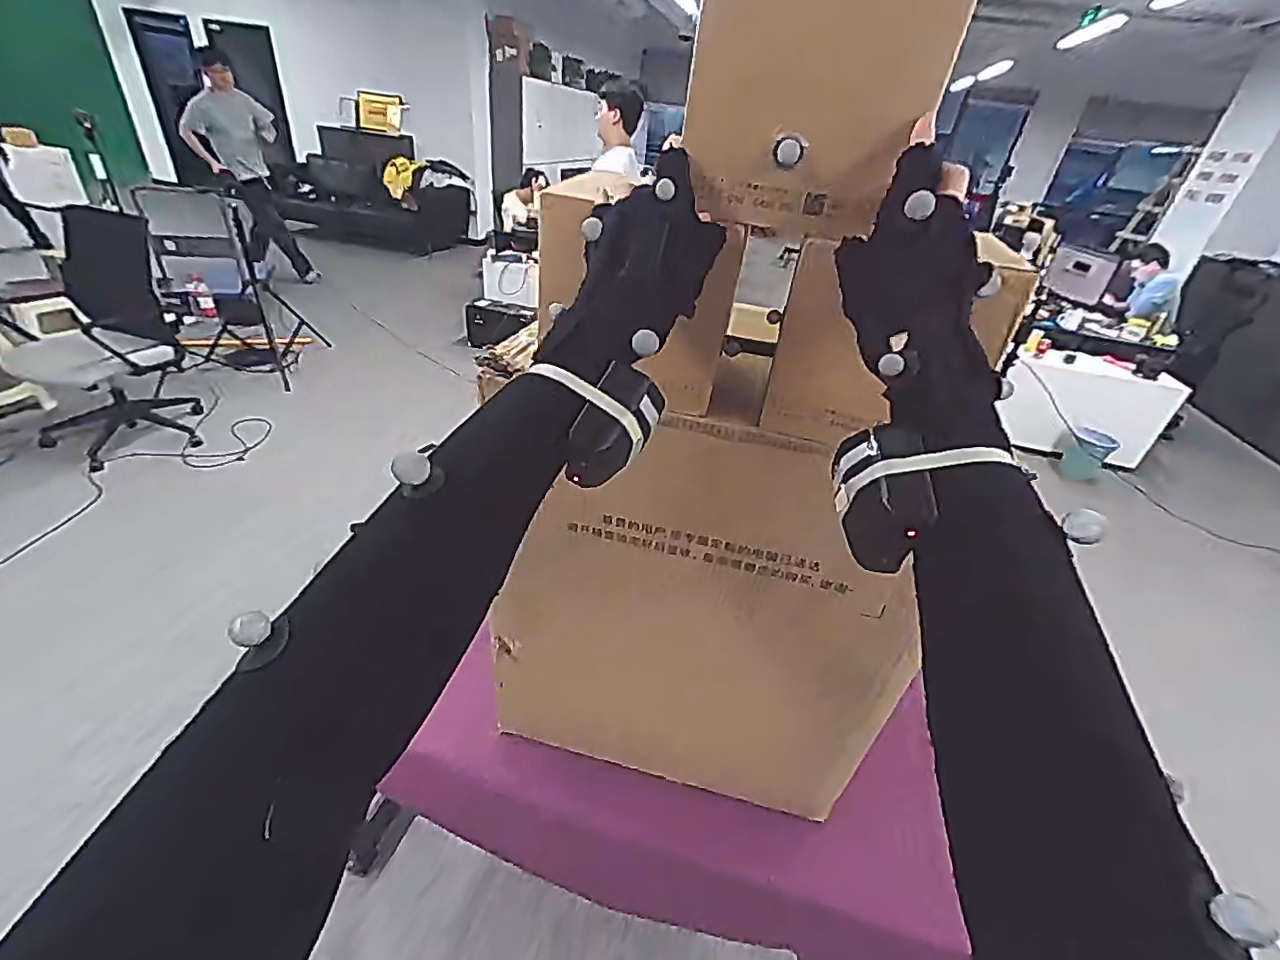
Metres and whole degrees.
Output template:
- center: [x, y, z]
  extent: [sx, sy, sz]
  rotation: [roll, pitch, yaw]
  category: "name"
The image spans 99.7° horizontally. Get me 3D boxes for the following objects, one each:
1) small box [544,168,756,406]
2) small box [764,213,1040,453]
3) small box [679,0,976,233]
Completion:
- center: [0.011, -0.192, 0.525]
  extent: [0.168, 0.176, 0.179]
  rotation: [13, 34, 8]
  category: "small box"
- center: [0.218, -0.145, 0.499]
  extent: [0.168, 0.176, 0.179]
  rotation: [15, 34, 11]
  category: "small box"
- center: [0.130, -0.307, 0.427]
  extent: [0.168, 0.176, 0.179]
  rotation: [11, 35, 5]
  category: "small box"
